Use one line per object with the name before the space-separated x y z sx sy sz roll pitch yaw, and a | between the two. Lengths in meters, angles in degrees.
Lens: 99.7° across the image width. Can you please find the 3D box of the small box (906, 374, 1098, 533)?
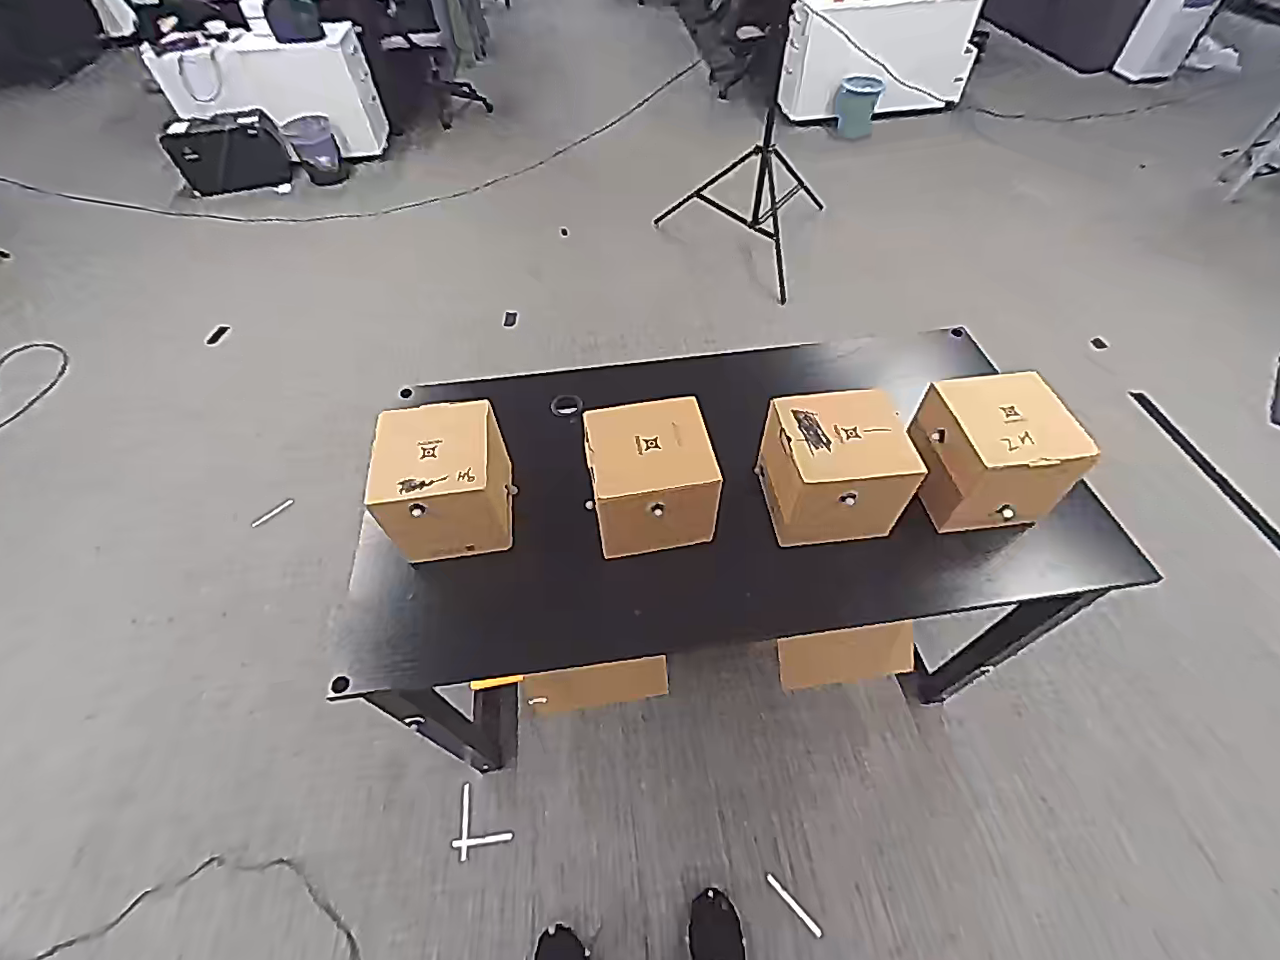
small box | 0.535 -0.040 0.843 0.168 0.176 0.179 -6 53 -2

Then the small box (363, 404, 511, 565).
small box | -0.299 0.009 0.838 0.168 0.176 0.179 -8 53 -4

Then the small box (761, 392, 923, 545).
small box | 0.292 -0.012 0.833 0.179 0.176 0.168 -6 52 -2

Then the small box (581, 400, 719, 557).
small box | 0.012 0.003 0.835 0.179 0.176 0.168 -9 54 -6
